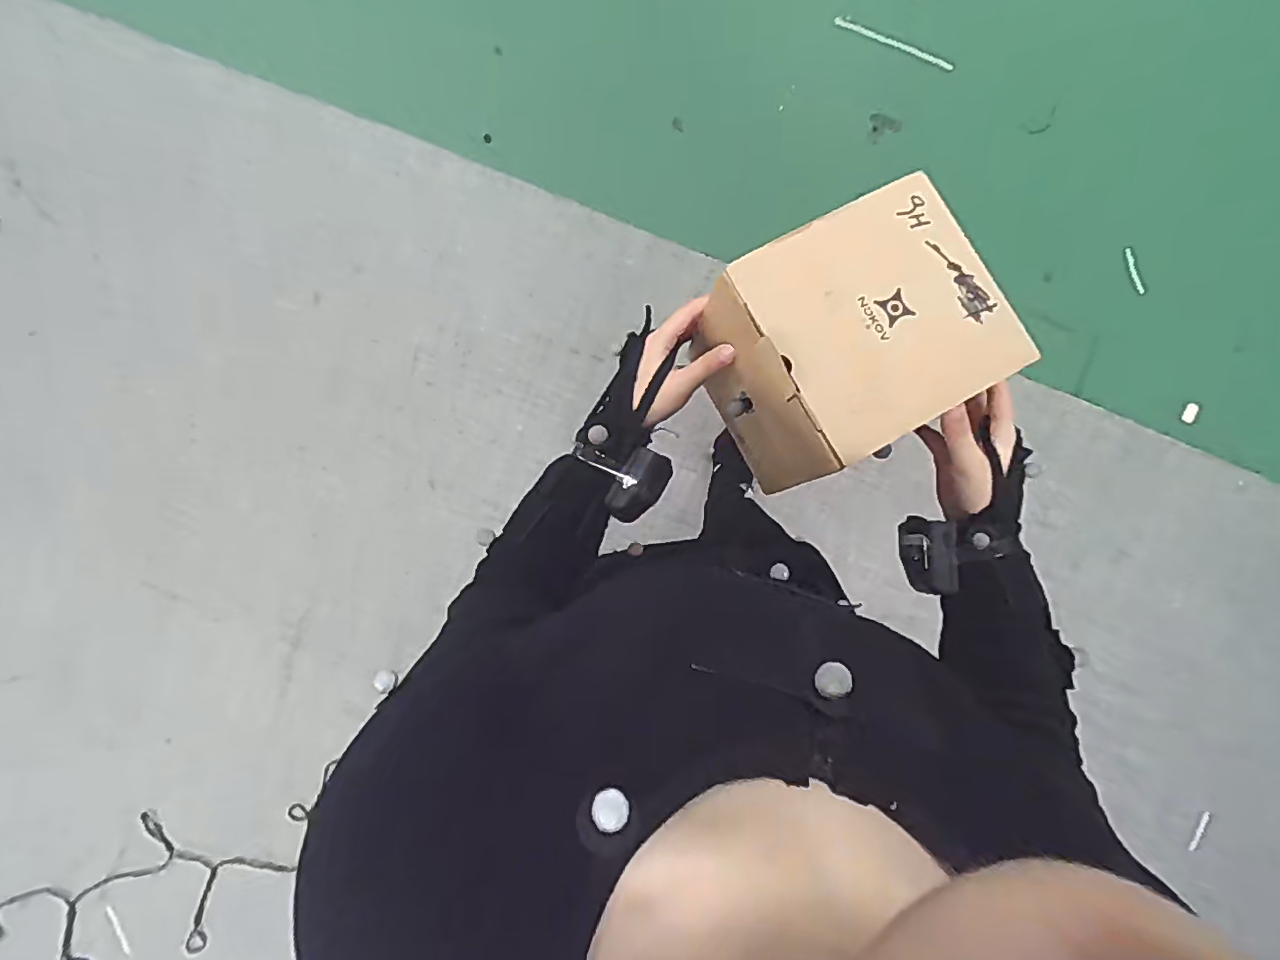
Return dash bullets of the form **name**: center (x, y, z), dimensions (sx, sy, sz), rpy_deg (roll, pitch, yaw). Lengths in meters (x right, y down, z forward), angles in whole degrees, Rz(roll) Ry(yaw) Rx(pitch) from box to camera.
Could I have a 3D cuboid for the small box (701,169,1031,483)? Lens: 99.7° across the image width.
- **small box**: center (0.165, -0.111, 0.465), dimensions (0.179, 0.176, 0.168), rpy_deg (-29, 85, -6)
